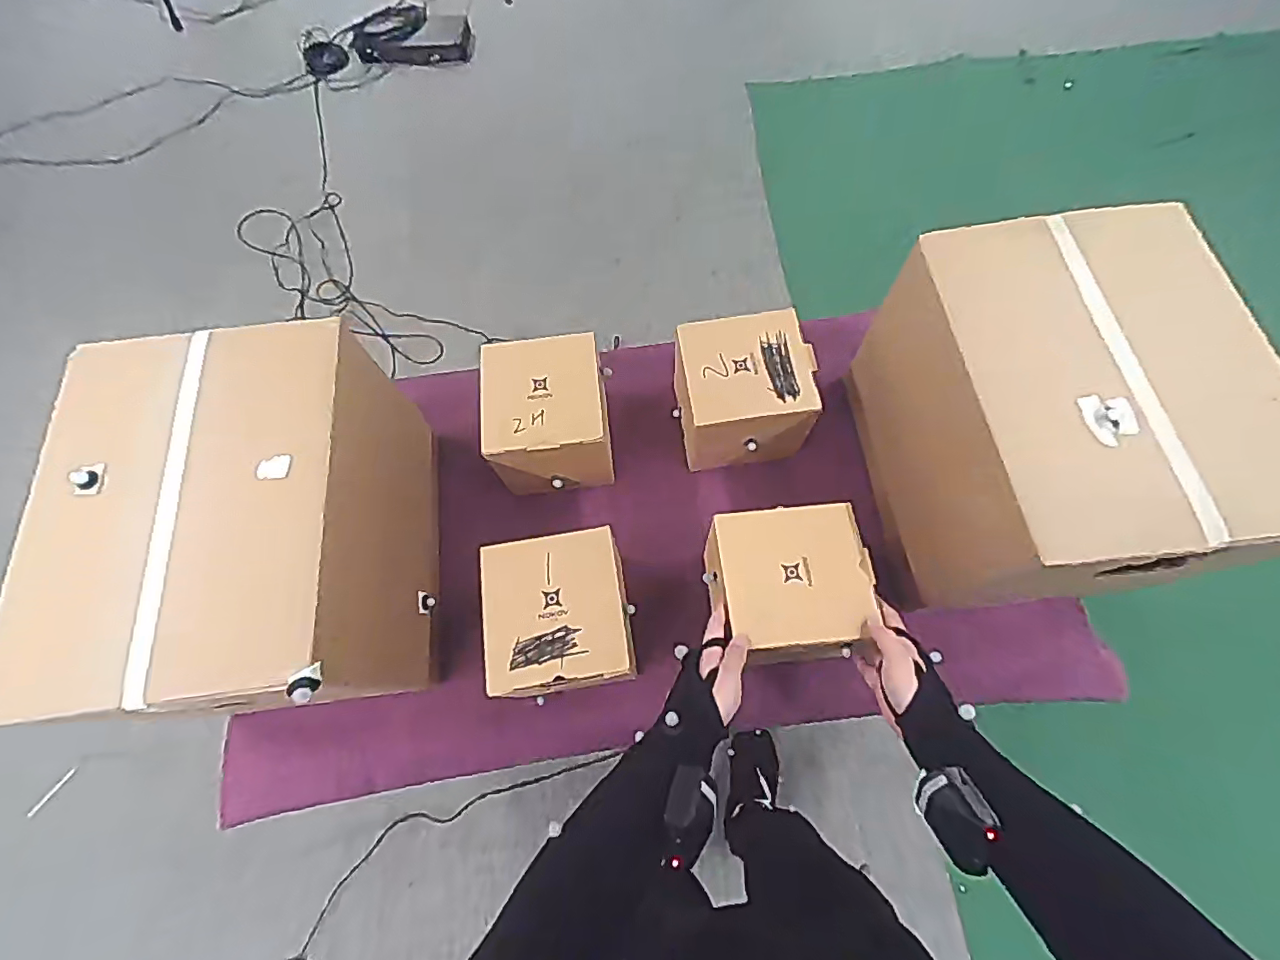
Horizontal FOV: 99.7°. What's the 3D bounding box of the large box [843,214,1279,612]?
[{"bbox_3d":[0.504,-0.062,0.703,0.320,0.320,0.408,-7,69,1],"label":"large box"}]
